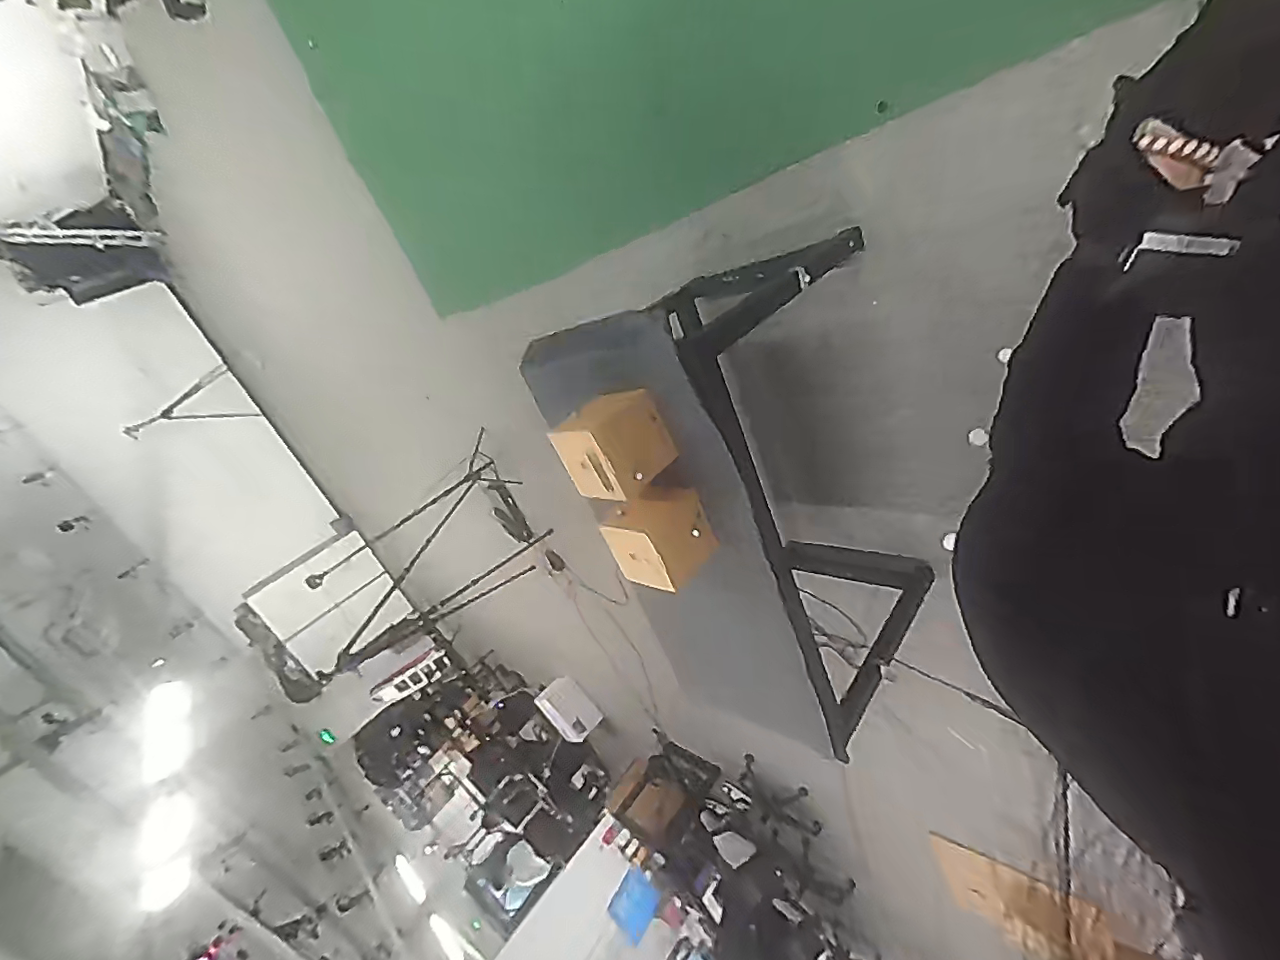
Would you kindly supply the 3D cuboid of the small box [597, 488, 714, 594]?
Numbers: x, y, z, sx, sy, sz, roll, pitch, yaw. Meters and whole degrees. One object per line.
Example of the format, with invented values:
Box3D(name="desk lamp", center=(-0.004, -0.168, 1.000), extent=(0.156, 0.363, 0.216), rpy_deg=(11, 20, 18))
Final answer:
Box3D(name="small box", center=(0.039, 0.132, 1.241), extent=(0.179, 0.176, 0.168), rpy_deg=(3, 125, 49))
